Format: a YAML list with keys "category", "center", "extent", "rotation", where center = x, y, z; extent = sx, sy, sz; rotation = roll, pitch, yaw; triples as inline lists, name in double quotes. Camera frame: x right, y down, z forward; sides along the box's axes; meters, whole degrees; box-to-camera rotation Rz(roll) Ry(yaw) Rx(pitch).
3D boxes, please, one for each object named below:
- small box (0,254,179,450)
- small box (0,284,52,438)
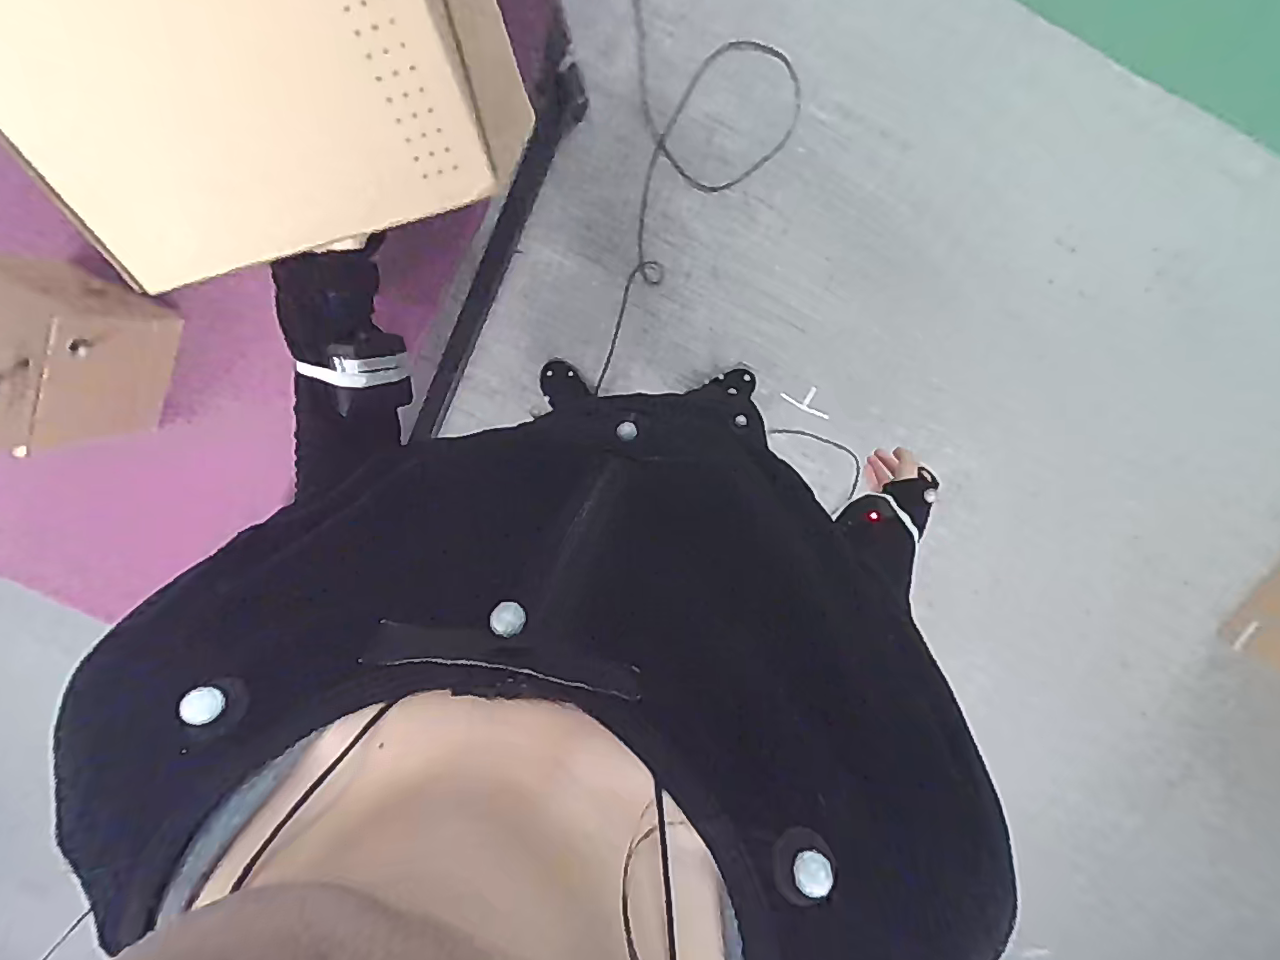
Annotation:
- category: "small box"
  center: [-0.726, -0.161, 0.667]
  extent: [0.168, 0.176, 0.179]
  rotation: [25, 103, -4]
- category: "small box"
  center: [-0.734, -0.129, 0.505]
  extent: [0.179, 0.176, 0.168]
  rotation: [24, 104, -4]
